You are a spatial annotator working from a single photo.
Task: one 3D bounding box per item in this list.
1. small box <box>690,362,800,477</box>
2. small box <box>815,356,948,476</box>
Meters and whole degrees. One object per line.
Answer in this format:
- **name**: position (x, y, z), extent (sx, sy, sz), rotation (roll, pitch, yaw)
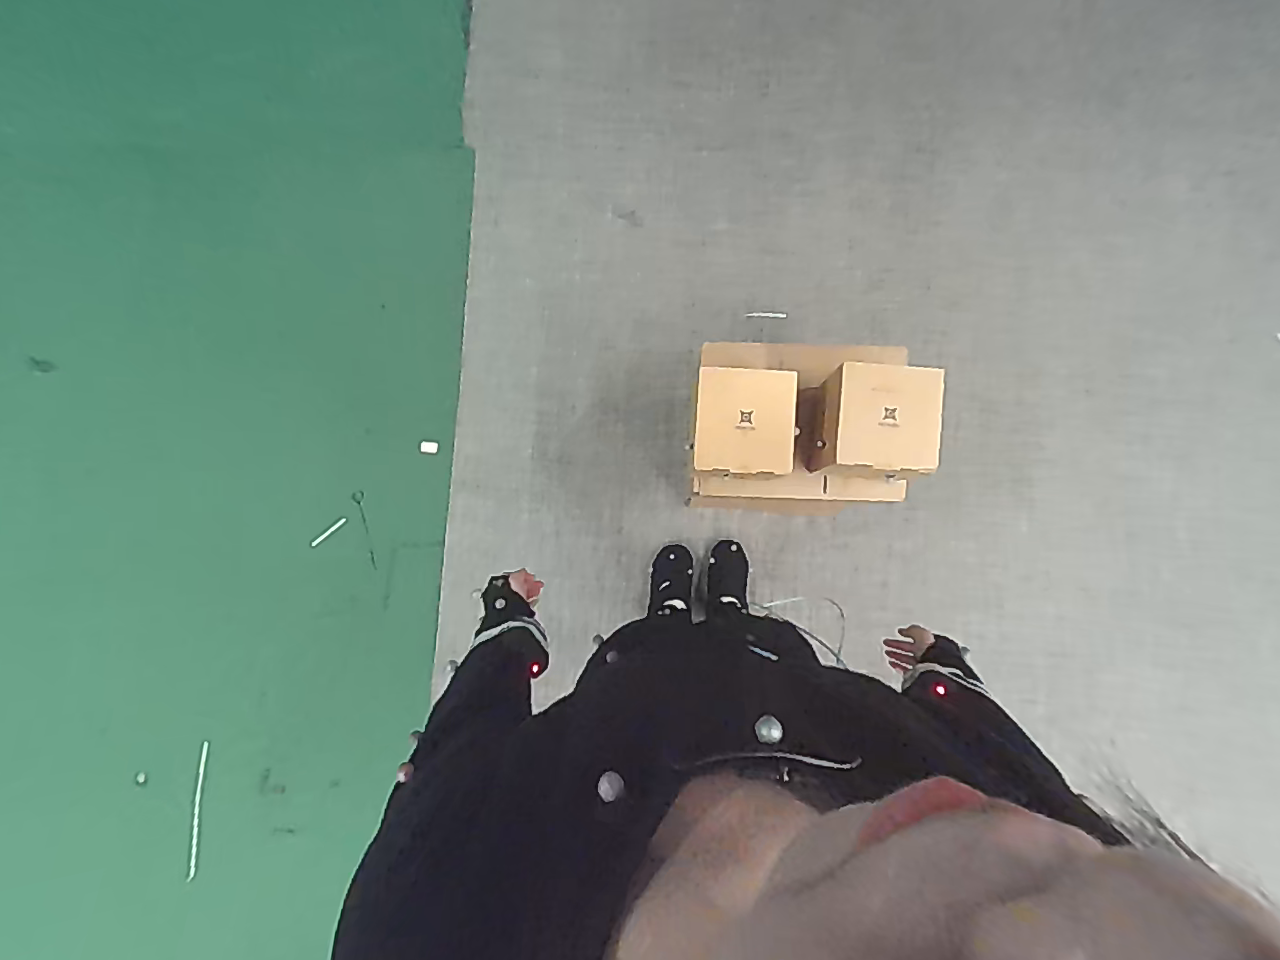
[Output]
- **small box**: position (0.179, -0.101, 0.971), extent (0.168, 0.176, 0.179), rotation (3, 88, 1)
- **small box**: position (0.416, -0.104, 0.958), extent (0.168, 0.176, 0.179), rotation (6, 85, 4)
